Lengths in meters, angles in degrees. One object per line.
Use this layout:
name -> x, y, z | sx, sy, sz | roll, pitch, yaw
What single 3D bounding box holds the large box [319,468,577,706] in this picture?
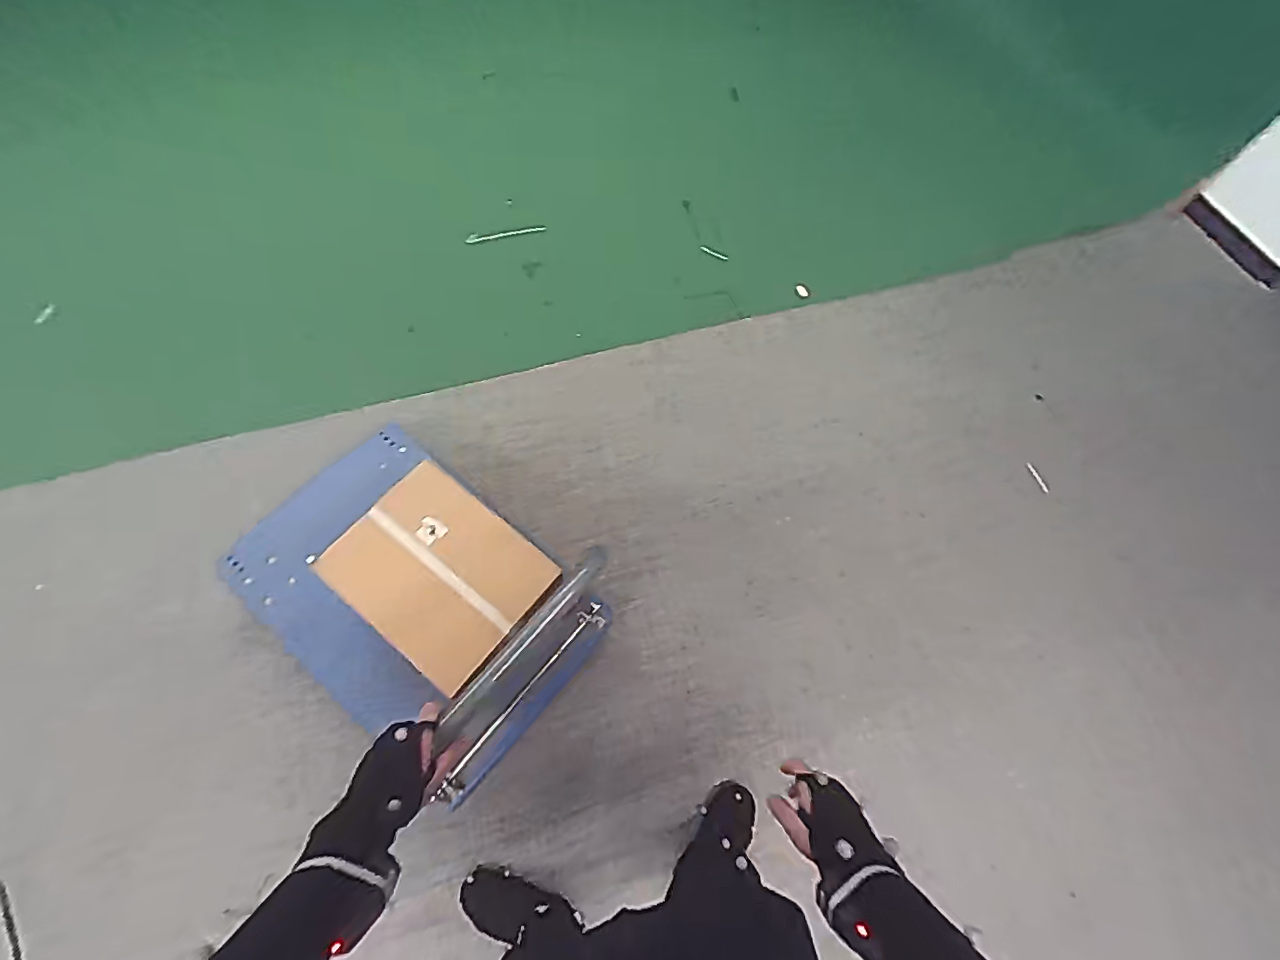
large box -> -0.399, 0.252, 1.221 | 0.408, 0.320, 0.320 | 36, 68, 14
